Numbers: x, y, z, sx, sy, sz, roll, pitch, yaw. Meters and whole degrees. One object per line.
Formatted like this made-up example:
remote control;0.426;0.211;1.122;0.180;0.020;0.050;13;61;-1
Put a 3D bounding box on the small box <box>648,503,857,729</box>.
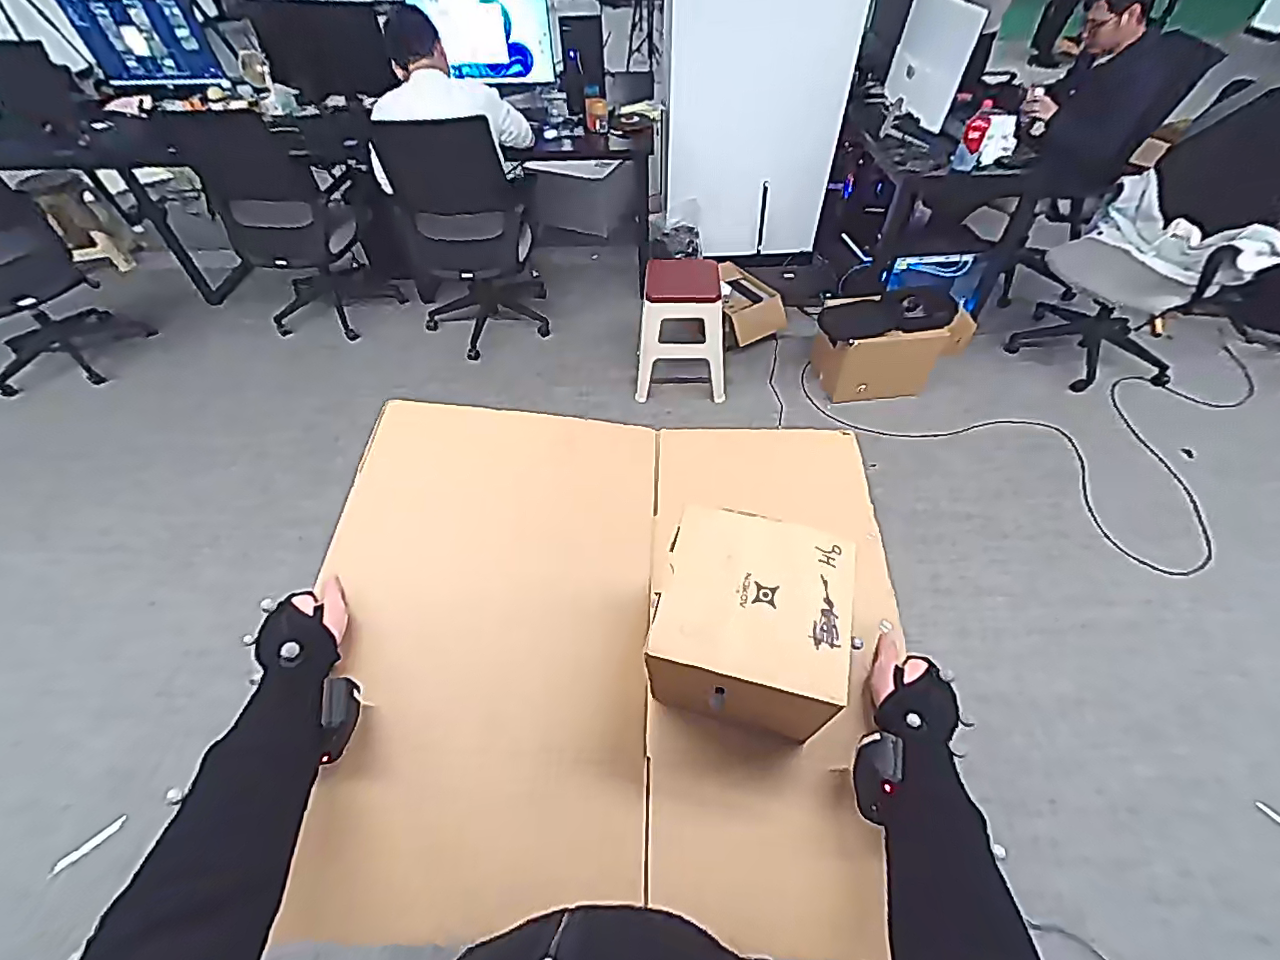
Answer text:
small box;0.117;0.150;0.578;0.179;0.176;0.168;11;57;12
